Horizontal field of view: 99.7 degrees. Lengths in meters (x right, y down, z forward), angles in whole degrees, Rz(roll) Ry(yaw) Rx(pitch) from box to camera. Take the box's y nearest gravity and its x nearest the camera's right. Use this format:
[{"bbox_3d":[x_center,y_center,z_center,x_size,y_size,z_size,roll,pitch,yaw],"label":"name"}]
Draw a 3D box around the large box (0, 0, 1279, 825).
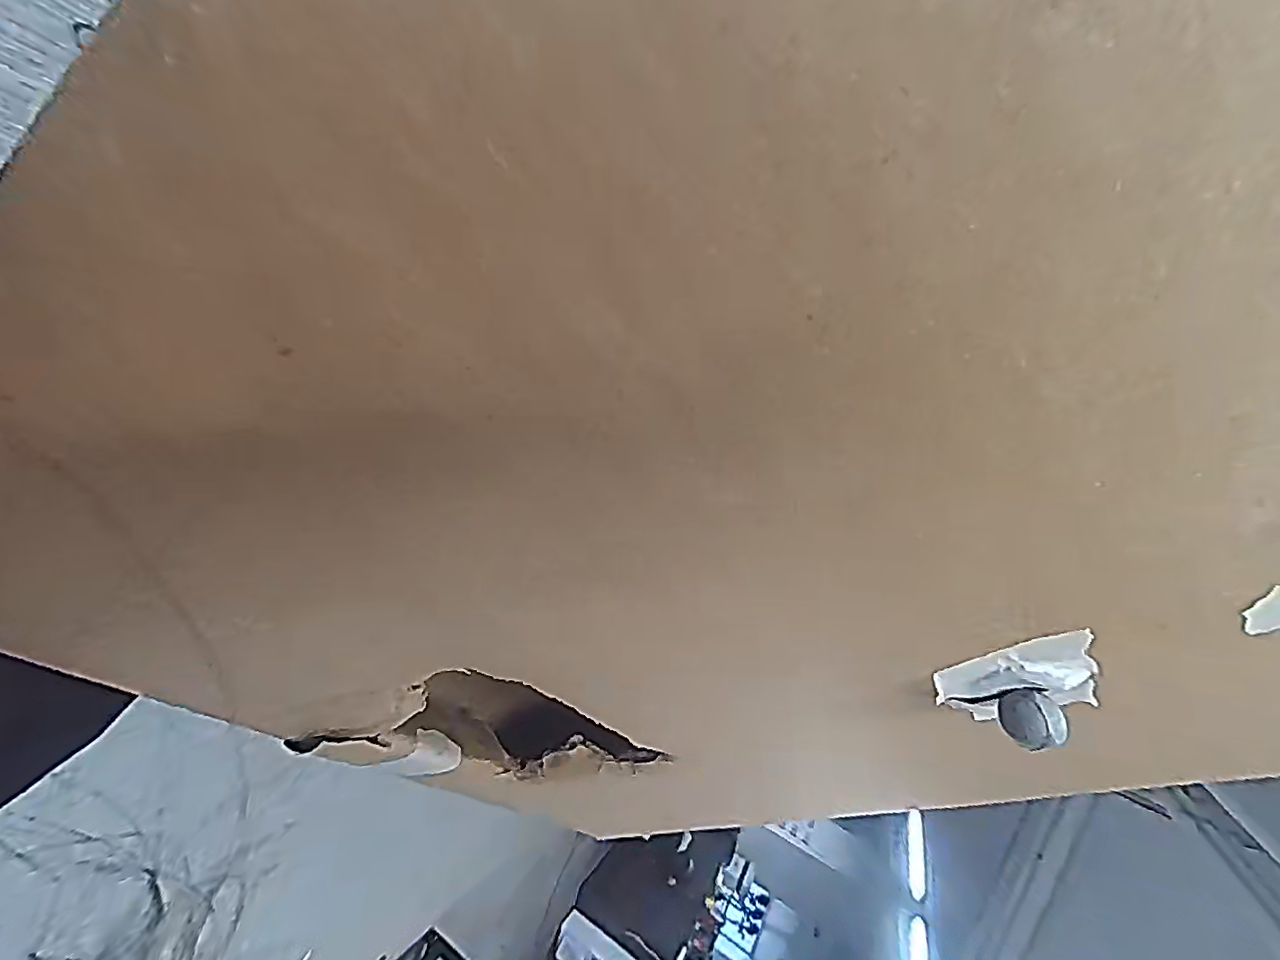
[{"bbox_3d":[0.022,-0.088,0.287,0.320,0.320,0.408,49,30,-38],"label":"large box"}]
